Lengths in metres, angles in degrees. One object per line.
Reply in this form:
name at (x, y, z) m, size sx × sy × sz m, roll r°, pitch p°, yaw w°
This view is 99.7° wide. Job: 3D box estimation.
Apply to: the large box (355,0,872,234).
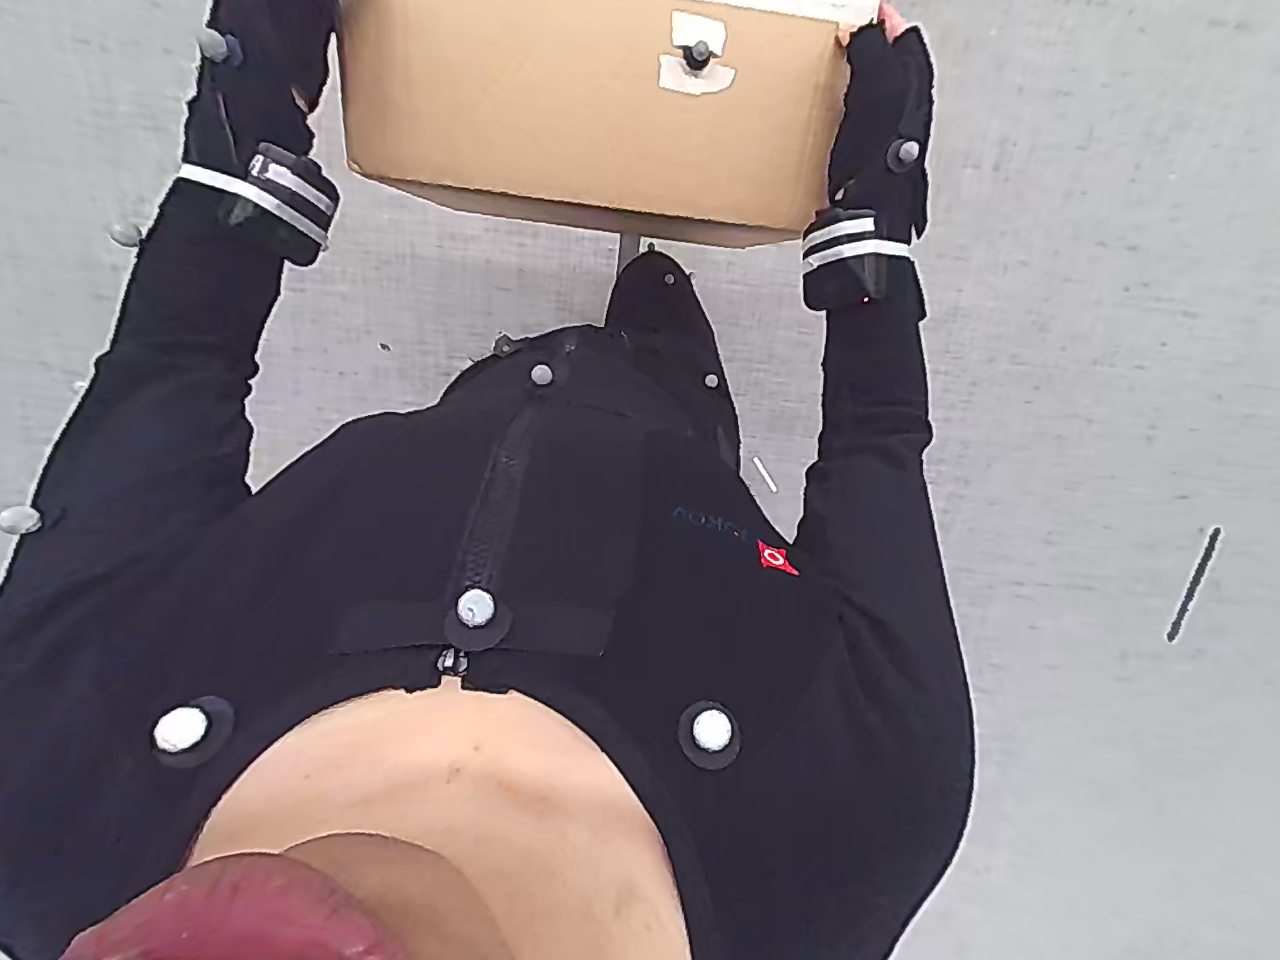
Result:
large box at (-0.025, -0.442, 0.546) m, size 0.408 × 0.320 × 0.320 m, roll 4°, pitch 112°, yaw -6°
